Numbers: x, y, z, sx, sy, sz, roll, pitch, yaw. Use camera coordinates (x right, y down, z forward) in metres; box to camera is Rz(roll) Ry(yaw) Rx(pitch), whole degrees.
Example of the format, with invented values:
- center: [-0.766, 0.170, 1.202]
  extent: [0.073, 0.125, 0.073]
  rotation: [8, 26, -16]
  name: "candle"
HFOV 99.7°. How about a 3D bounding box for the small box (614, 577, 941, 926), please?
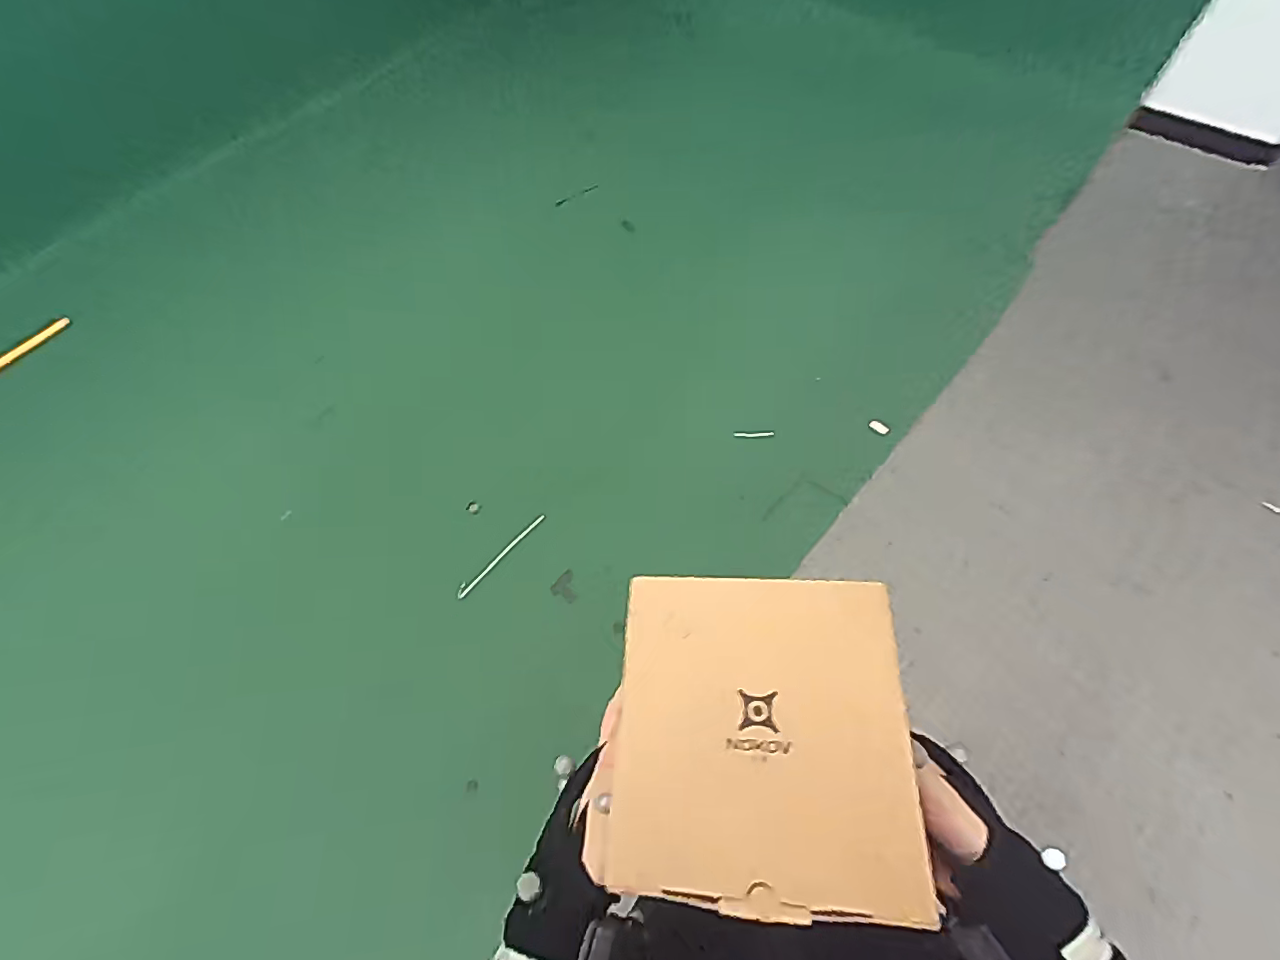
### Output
- center: [0.083, 0.184, 0.384]
  extent: [0.168, 0.176, 0.179]
  rotation: [0, 59, 9]
  name: "small box"
